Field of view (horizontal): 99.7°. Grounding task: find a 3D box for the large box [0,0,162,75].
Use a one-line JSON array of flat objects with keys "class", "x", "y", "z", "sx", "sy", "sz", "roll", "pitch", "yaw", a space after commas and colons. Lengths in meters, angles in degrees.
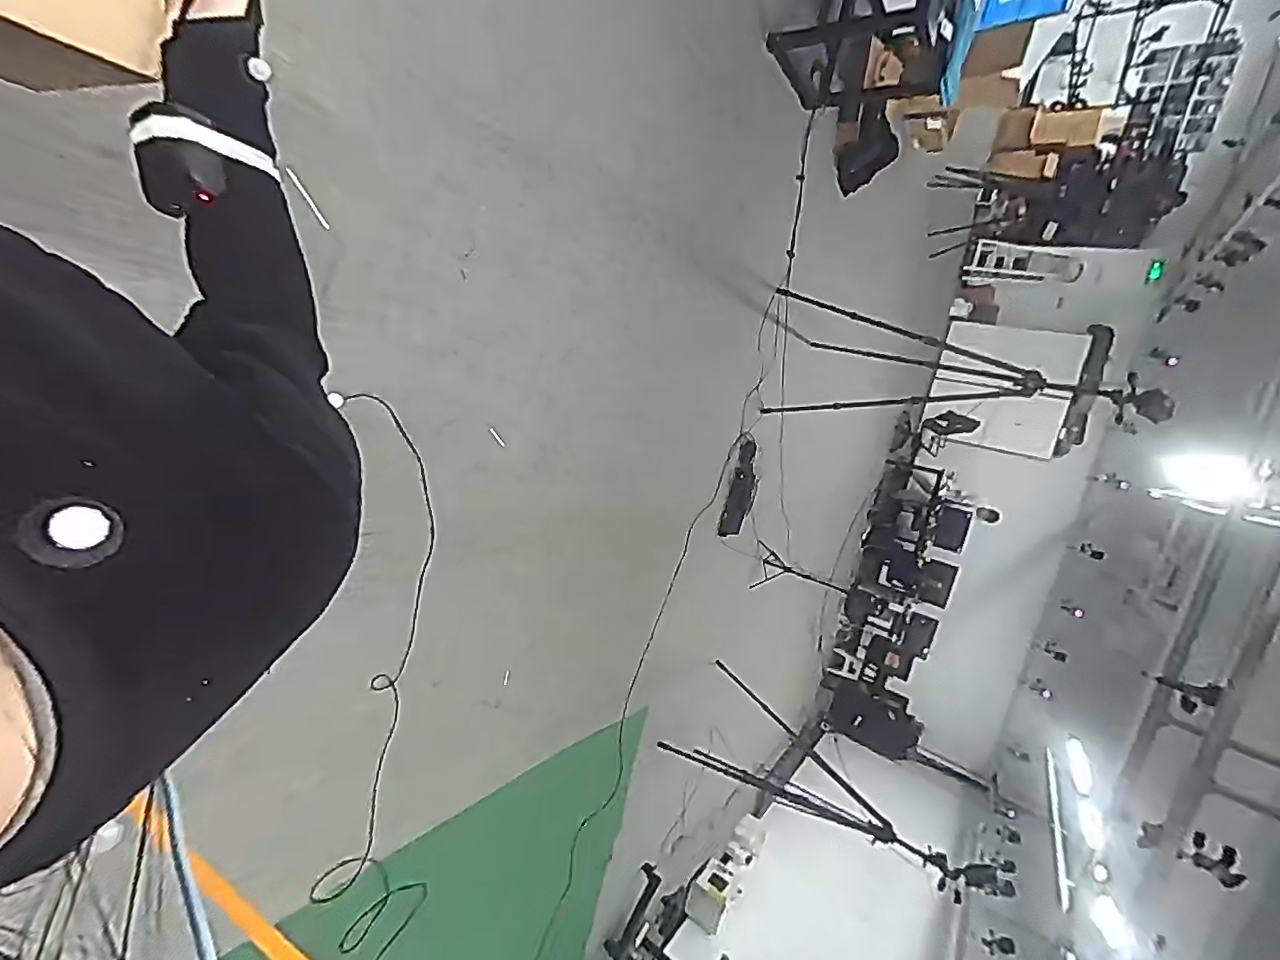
[{"class": "large box", "x": -0.560, "y": -0.483, "z": 0.283, "sx": 0.408, "sy": 0.320, "sz": 0.320, "roll": -10, "pitch": 116, "yaw": -57}]
